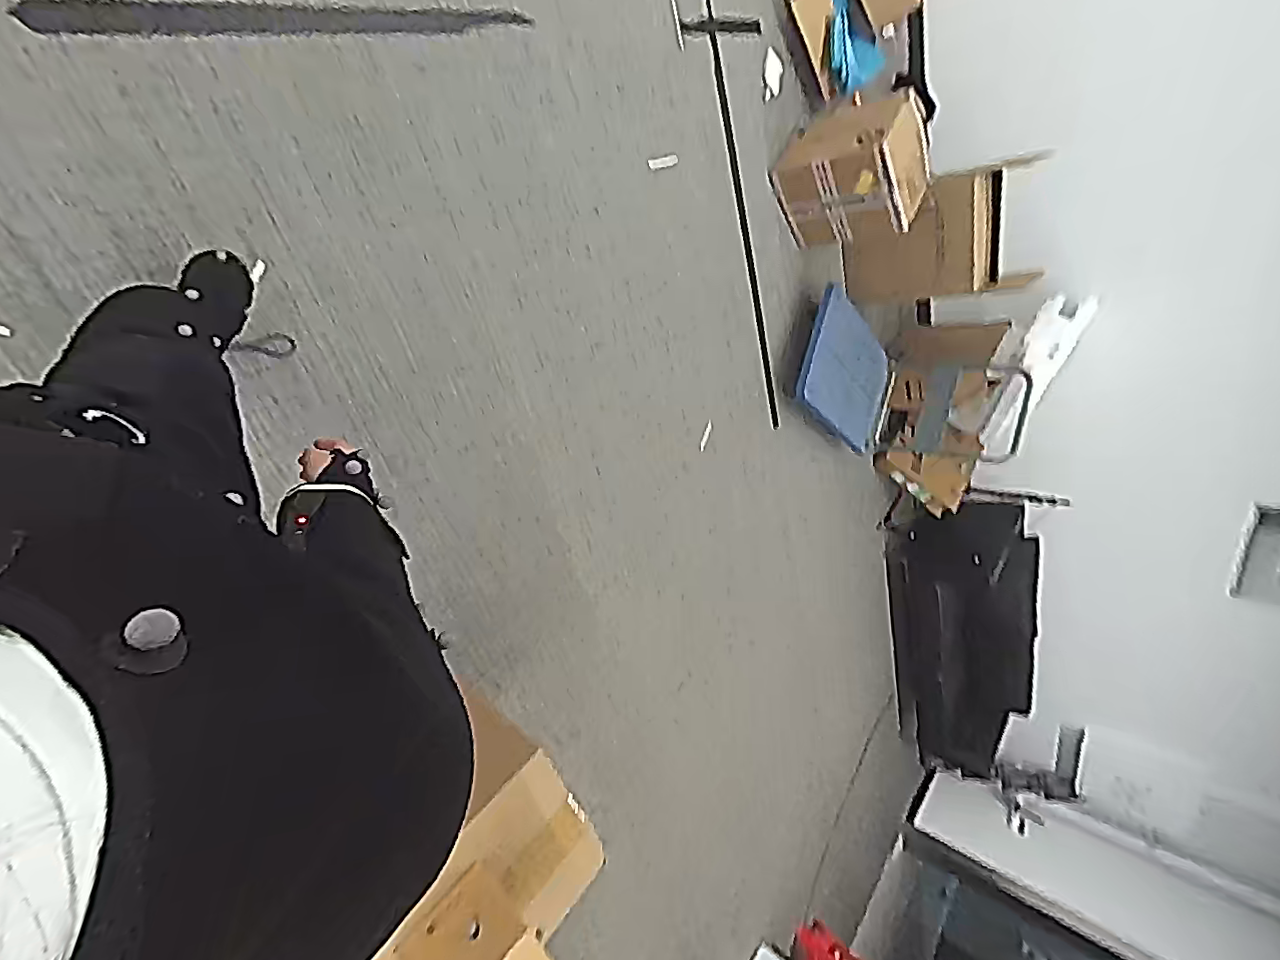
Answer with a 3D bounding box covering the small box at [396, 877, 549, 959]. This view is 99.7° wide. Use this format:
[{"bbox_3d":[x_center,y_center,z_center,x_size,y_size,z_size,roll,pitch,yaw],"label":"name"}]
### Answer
[{"bbox_3d":[-0.260,0.791,0.867,0.168,0.176,0.179,-37,123,-37],"label":"small box"}]
